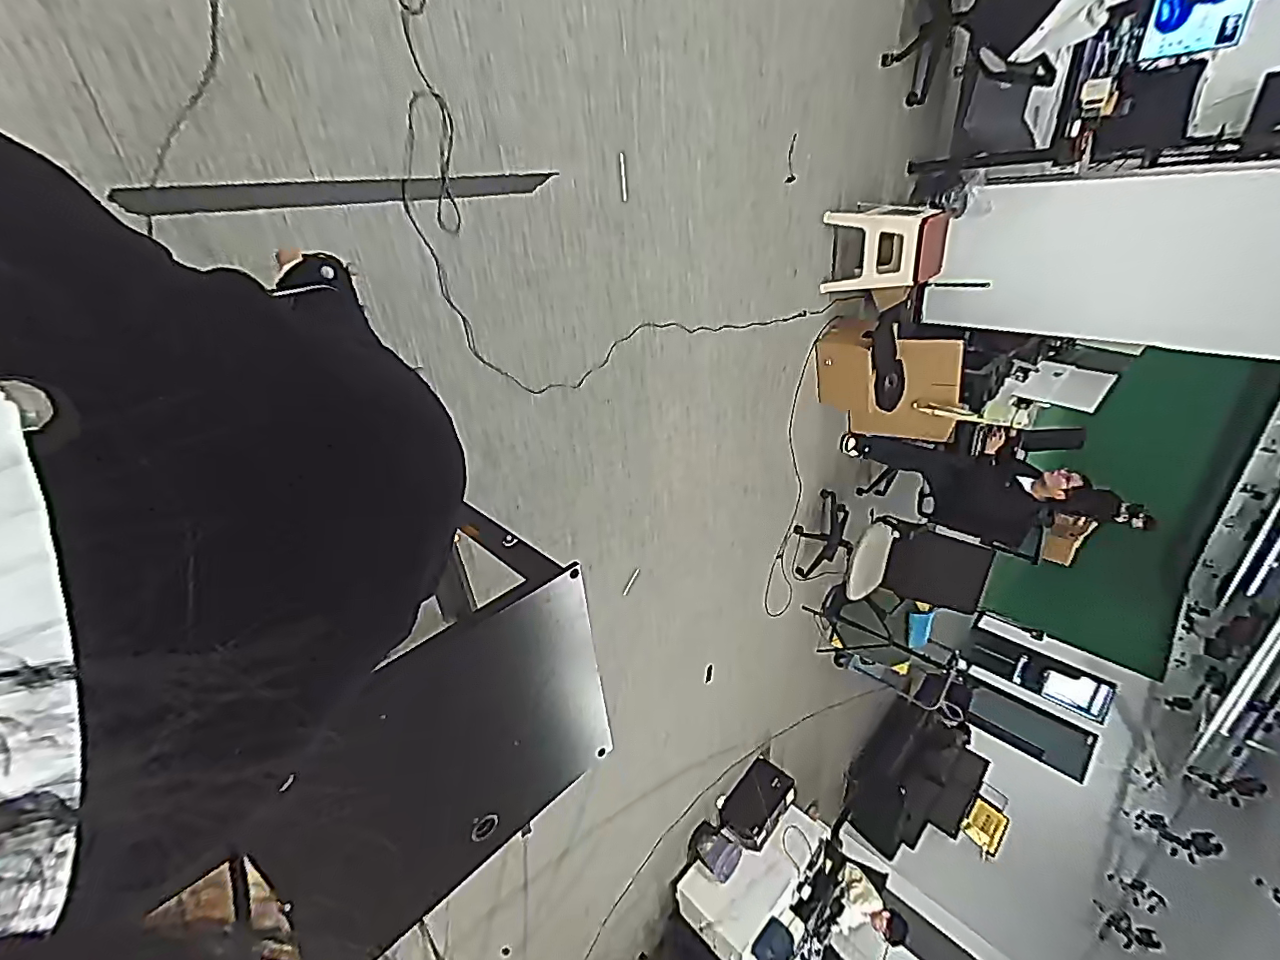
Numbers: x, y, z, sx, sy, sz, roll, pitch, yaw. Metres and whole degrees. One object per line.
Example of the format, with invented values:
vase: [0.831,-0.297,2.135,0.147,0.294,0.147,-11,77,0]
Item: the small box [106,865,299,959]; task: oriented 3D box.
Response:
small box: [-0.587,0.686,0.737,0.179,0.176,0.168,-27,125,-36]
